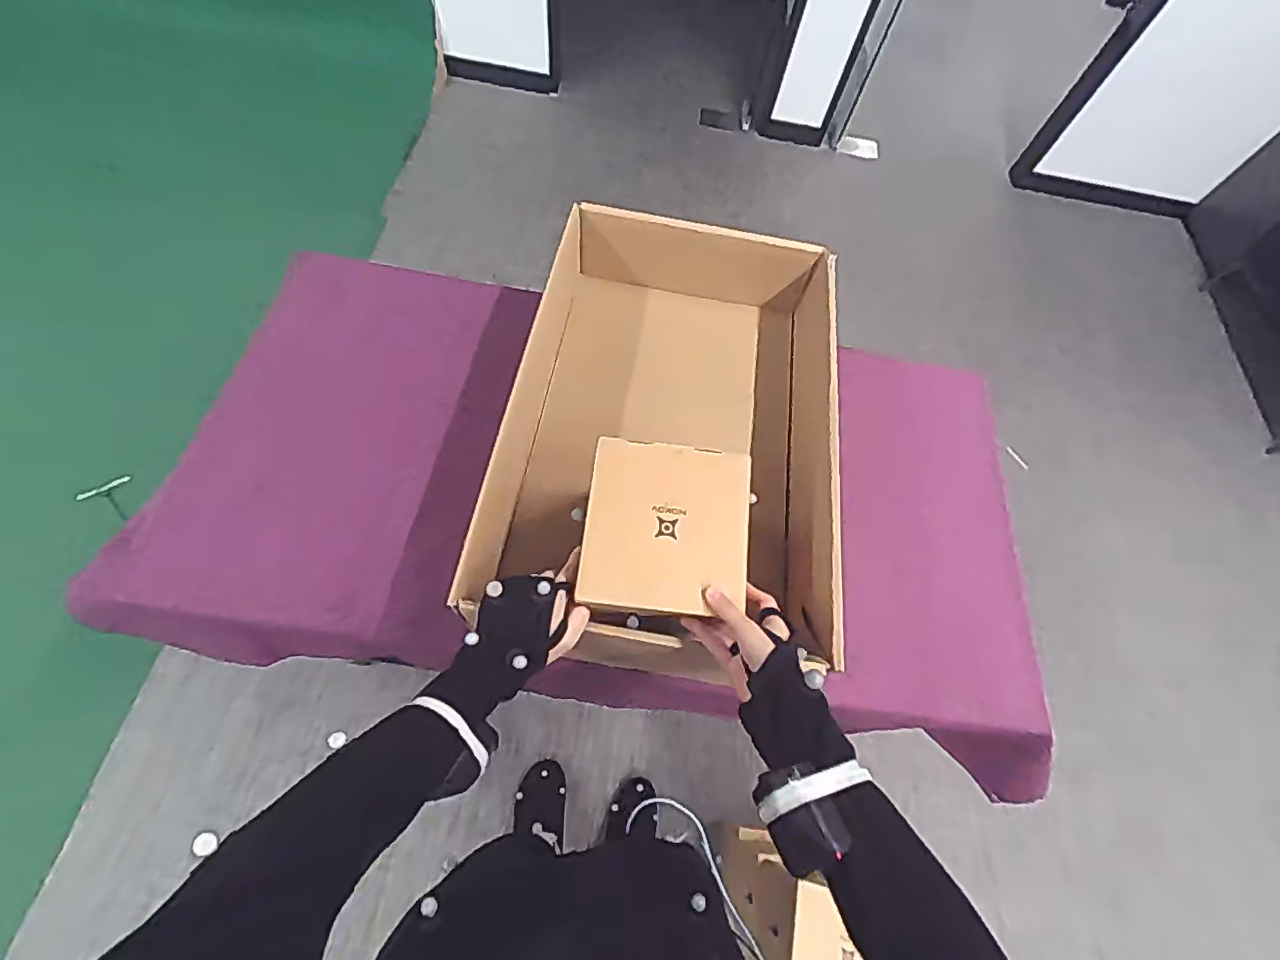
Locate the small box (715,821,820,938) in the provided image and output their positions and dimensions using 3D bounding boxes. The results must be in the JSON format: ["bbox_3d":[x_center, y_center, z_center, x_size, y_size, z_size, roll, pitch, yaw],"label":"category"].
[{"bbox_3d":[0.269,0.846,1.161,0.179,0.176,0.168,8,64,-2],"label":"small box"}]

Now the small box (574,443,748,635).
[{"bbox_3d":[0.023,0.078,0.623,0.168,0.176,0.179,6,69,-1],"label":"small box"}]
